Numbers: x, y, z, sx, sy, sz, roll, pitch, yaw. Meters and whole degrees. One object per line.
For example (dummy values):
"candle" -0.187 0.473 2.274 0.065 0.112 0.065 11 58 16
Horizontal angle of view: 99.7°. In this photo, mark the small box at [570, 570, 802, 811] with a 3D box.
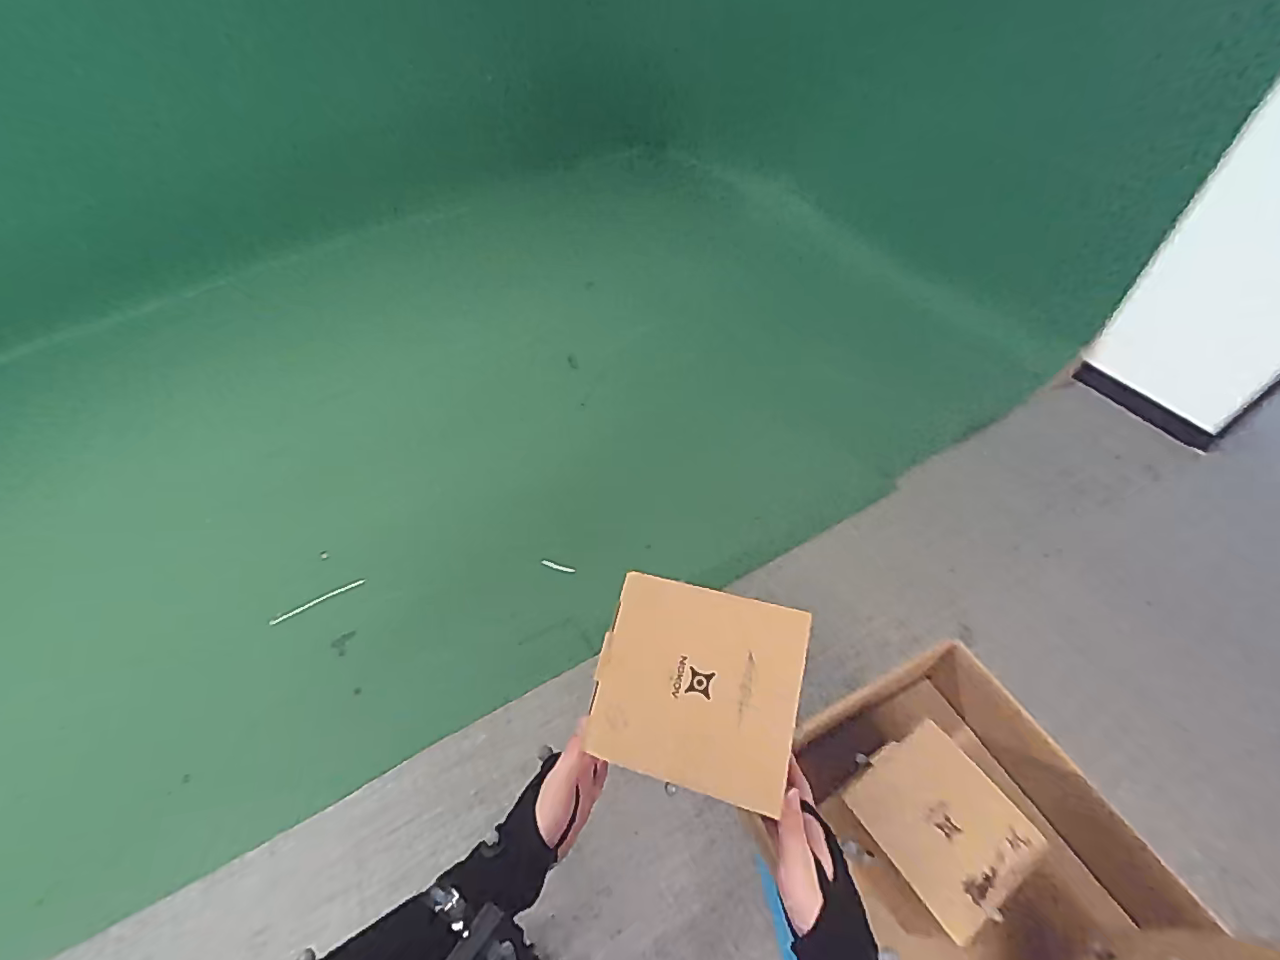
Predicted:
"small box" 0.055 0.205 0.546 0.179 0.176 0.168 11 70 15

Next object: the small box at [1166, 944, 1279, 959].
"small box" 0.529 0.516 0.439 0.168 0.176 0.179 -22 54 -10
